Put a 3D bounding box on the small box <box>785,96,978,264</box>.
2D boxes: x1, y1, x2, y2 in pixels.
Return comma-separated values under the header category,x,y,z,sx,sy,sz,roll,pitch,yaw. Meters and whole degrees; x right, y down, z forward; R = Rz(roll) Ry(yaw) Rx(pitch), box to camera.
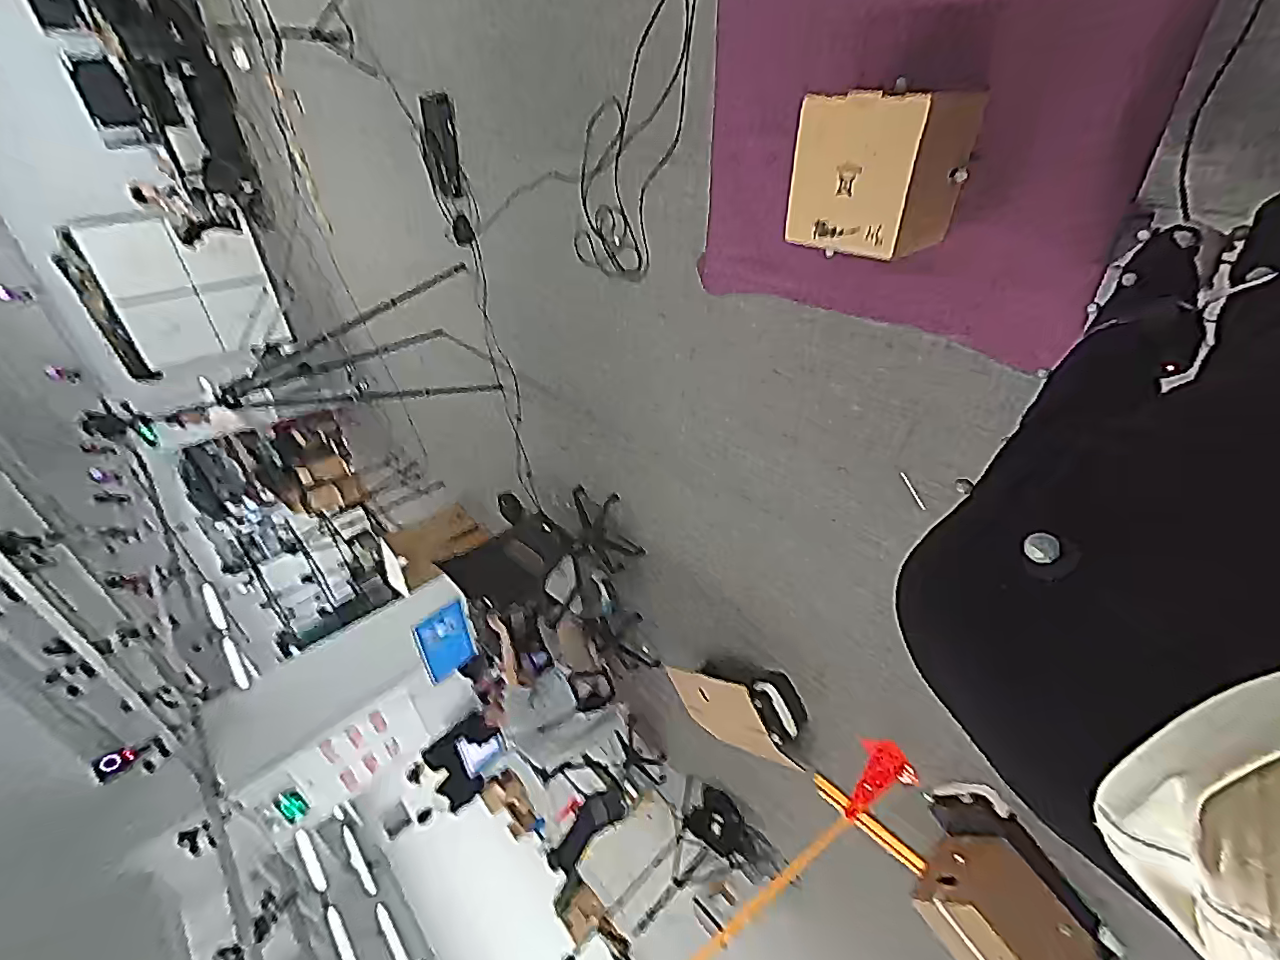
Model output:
category,x,y,z,sx,sy,sz,roll,pitch,yaw
small box,0.326,-0.412,0.734,0.168,0.176,0.179,32,136,36
